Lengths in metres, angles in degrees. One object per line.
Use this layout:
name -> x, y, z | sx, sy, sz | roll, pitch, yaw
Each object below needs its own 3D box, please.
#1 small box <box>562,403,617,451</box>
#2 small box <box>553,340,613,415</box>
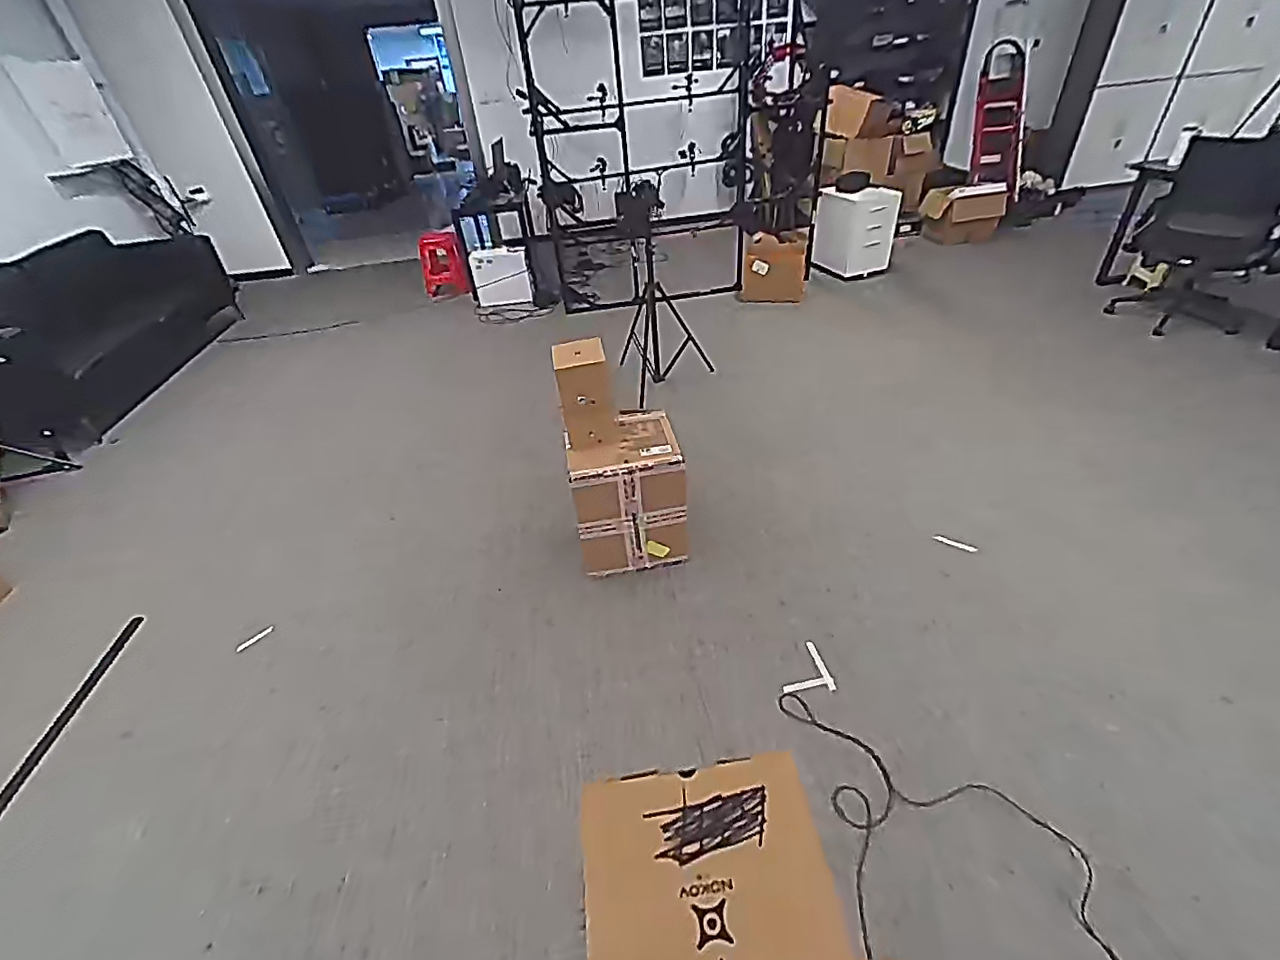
small box -> -0.181, -0.226, 1.907 | 0.168, 0.176, 0.179 | -11, 40, -3
small box -> -0.188, -0.338, 1.788 | 0.168, 0.176, 0.179 | -12, 41, -4
